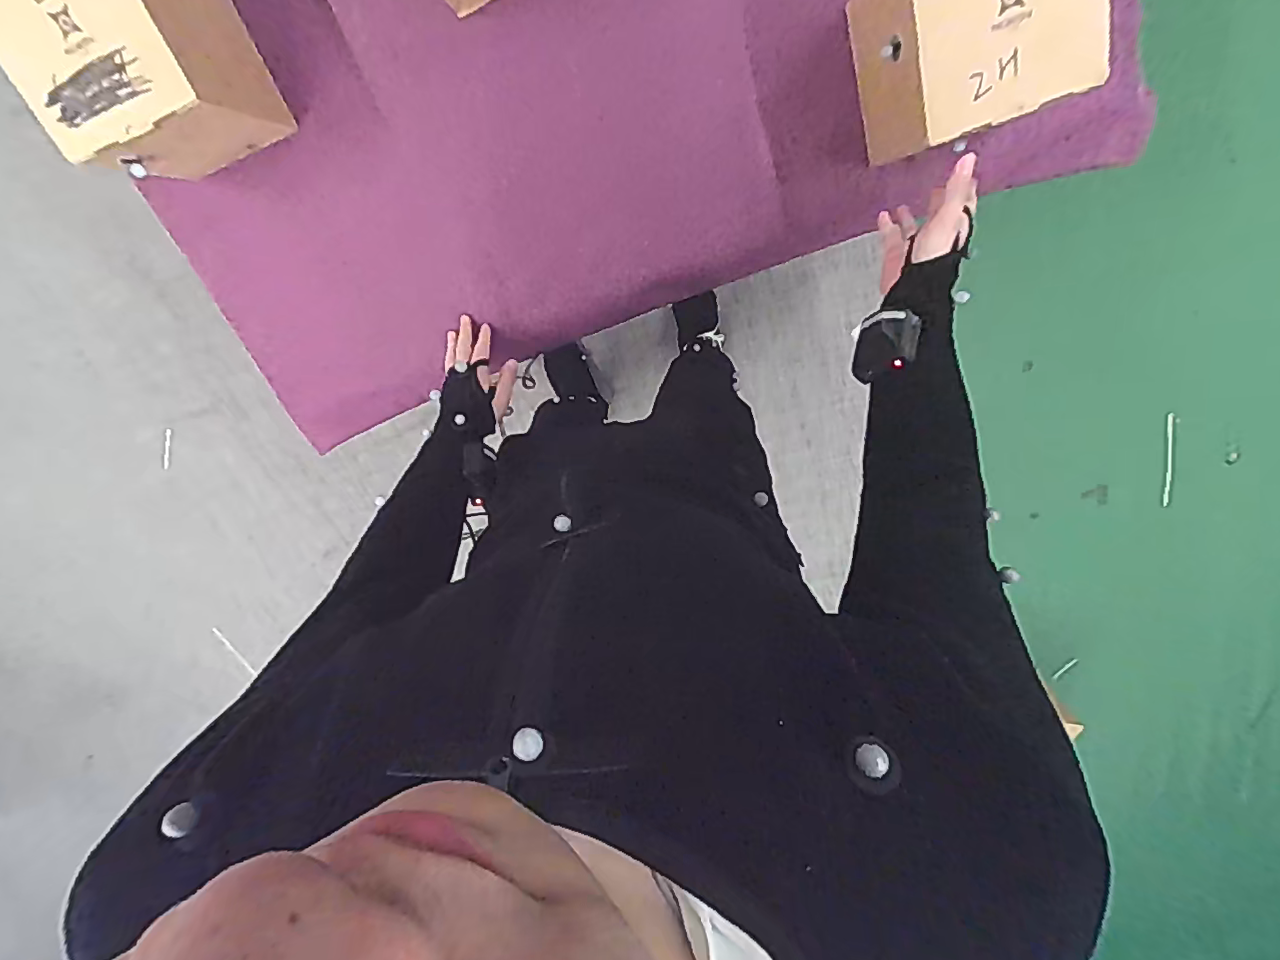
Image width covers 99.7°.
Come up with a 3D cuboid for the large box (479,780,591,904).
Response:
[{"bbox_3d":[-0.415,1.477,2.217,0.408,0.320,0.320,4,116,-2],"label":"large box"}]

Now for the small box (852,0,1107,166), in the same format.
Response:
[{"bbox_3d":[0.337,-0.456,0.564,0.168,0.176,0.179,-16,113,10],"label":"small box"}]
